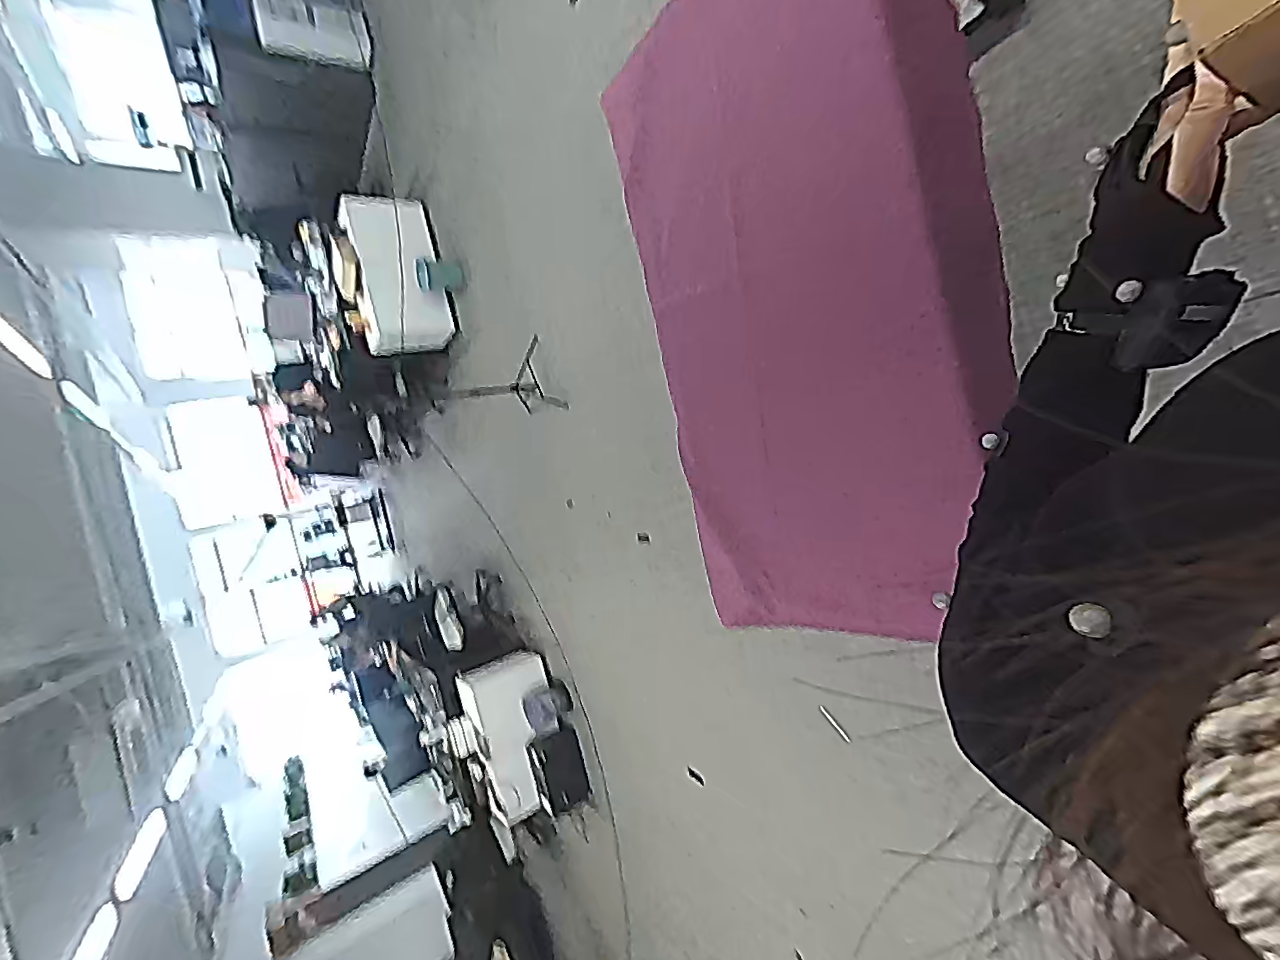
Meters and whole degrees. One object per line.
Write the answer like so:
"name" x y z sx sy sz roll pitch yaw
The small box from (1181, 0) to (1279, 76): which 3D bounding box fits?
"small box" 0.334 -0.308 0.220 0.168 0.176 0.179 -20 85 57
